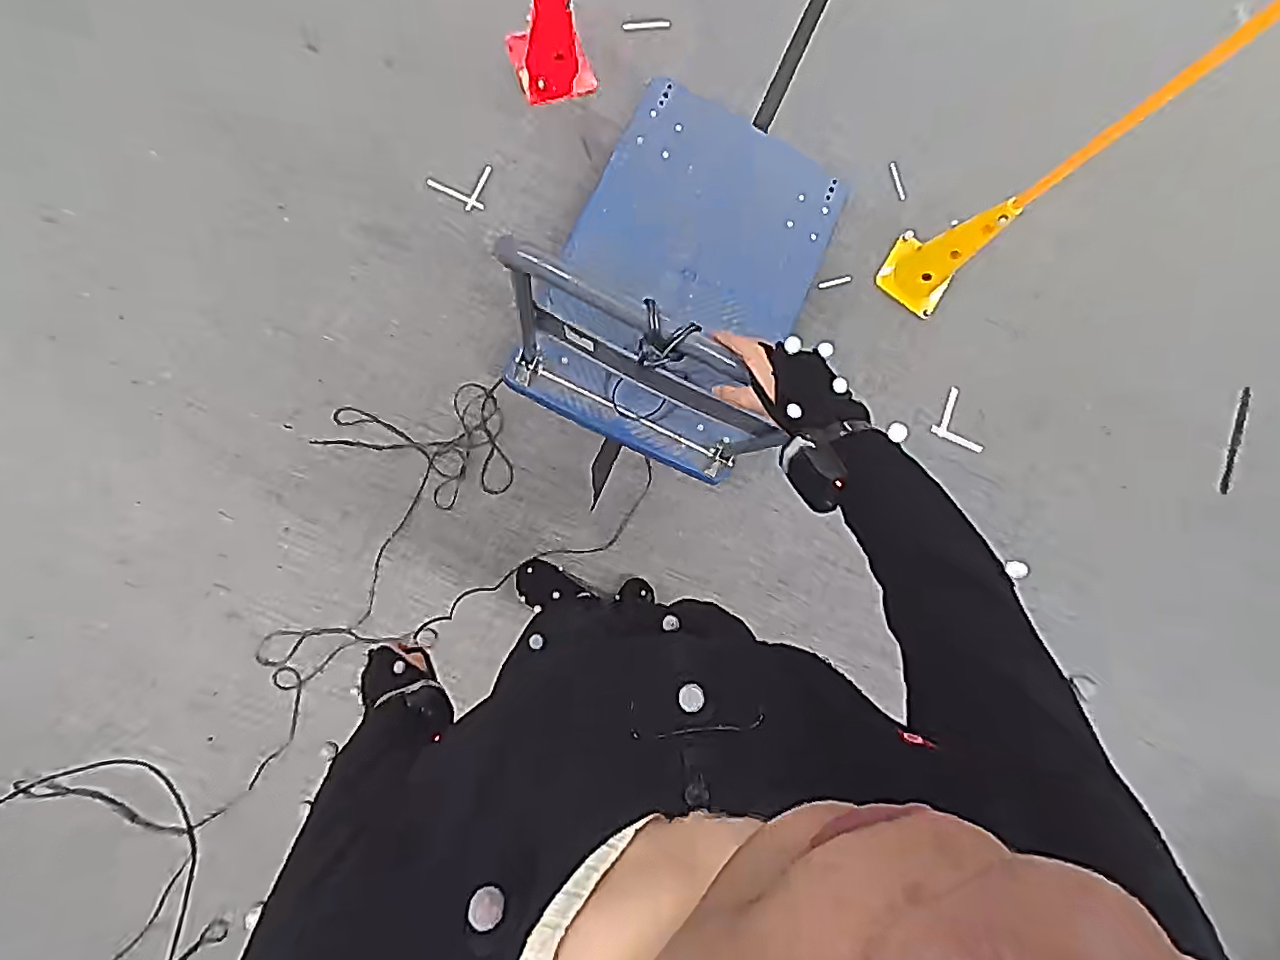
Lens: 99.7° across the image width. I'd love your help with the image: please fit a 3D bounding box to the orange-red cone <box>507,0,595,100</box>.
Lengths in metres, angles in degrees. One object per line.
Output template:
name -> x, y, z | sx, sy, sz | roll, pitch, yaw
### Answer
orange-red cone -> -0.209, -1.148, 1.295 | 0.199, 0.360, 0.198 | -21, 90, -12
